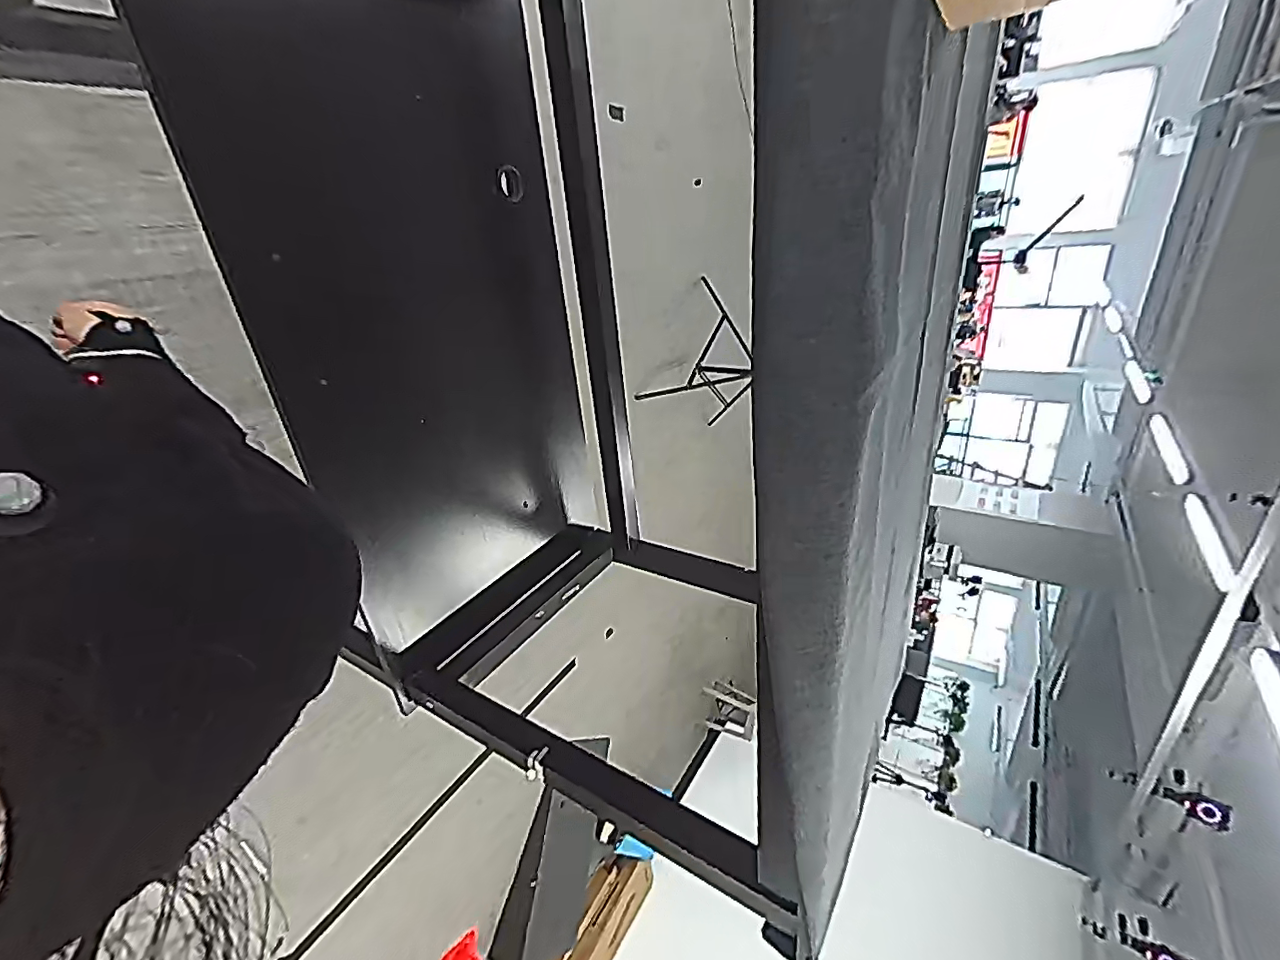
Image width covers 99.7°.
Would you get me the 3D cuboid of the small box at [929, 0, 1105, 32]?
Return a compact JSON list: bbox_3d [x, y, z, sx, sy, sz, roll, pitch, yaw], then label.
[{"bbox_3d":[0.227,-0.328,0.236,0.179,0.176,0.168,-40,133,-49],"label":"small box"}]
